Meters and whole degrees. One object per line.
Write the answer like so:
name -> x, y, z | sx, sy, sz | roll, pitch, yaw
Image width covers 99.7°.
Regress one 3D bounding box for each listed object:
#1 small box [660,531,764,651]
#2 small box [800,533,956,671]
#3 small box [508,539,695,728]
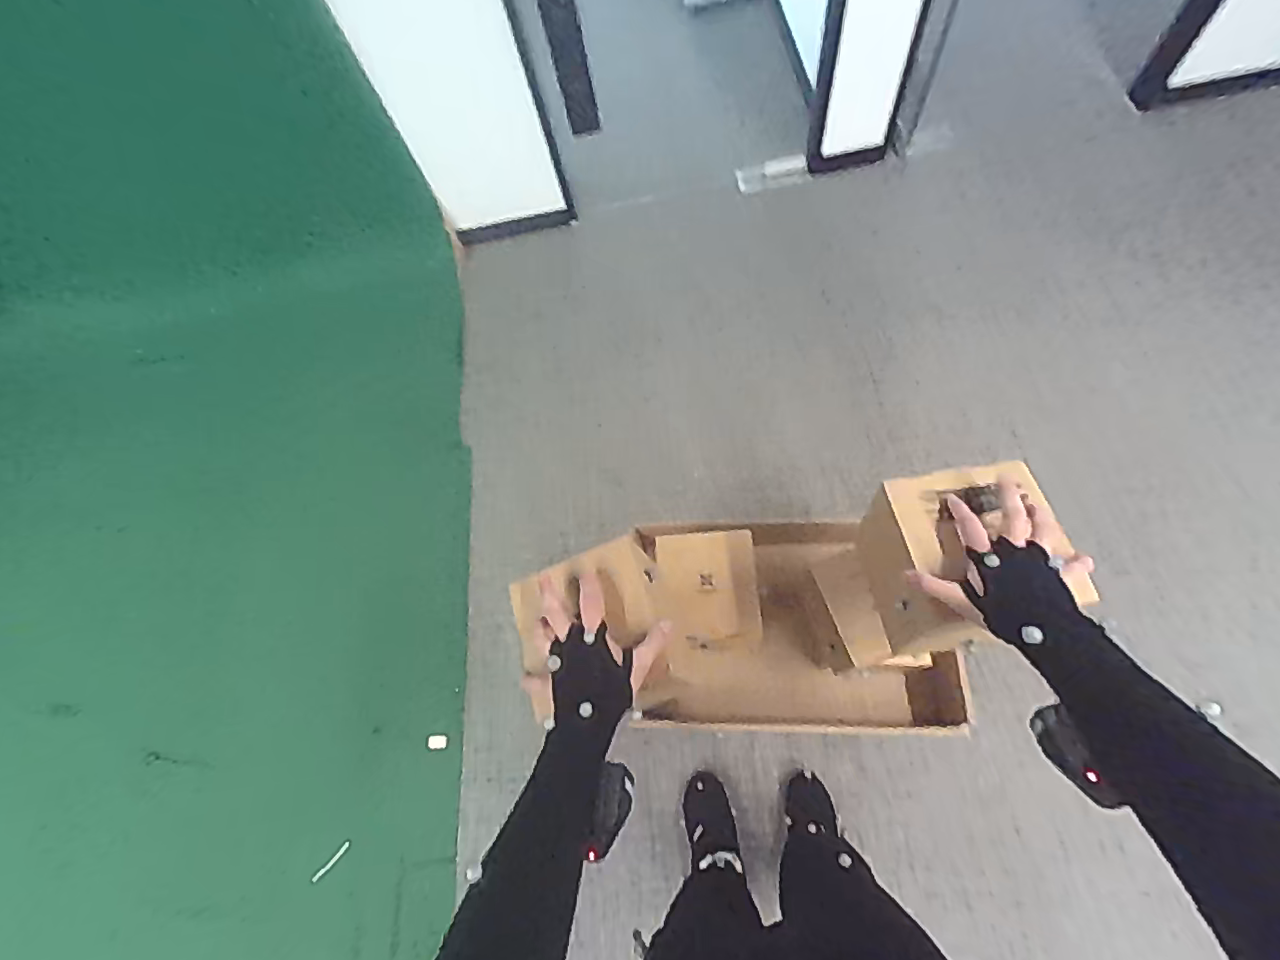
small box -> 0.125, 0.204, 0.967 | 0.168, 0.176, 0.179 | -5, 66, 7
small box -> 0.387, 0.215, 0.916 | 0.168, 0.176, 0.179 | -18, 64, 1
small box -> -0.045, 0.205, 0.698 | 0.168, 0.176, 0.179 | -25, 60, 7
